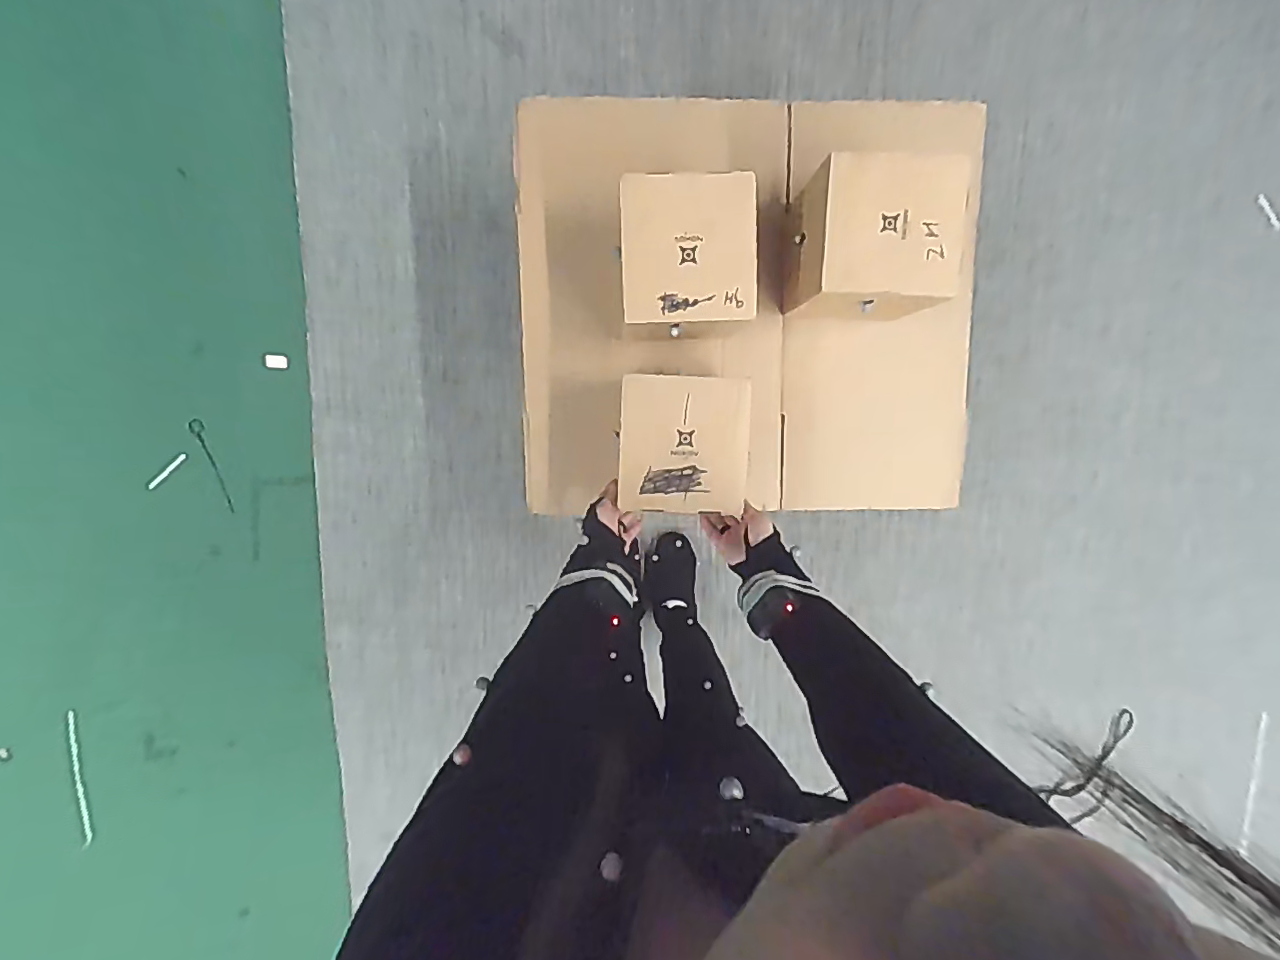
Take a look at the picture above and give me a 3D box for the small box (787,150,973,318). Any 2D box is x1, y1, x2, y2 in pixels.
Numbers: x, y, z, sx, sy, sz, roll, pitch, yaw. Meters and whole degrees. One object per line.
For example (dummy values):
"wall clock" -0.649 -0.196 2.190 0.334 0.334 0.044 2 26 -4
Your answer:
"small box" 0.308 -0.319 0.734 0.179 0.176 0.168 2 97 0

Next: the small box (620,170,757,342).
"small box" 0.057 -0.289 0.729 0.168 0.176 0.179 -2 97 -1

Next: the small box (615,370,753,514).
"small box" 0.054 -0.056 0.759 0.168 0.176 0.179 2 97 -2
